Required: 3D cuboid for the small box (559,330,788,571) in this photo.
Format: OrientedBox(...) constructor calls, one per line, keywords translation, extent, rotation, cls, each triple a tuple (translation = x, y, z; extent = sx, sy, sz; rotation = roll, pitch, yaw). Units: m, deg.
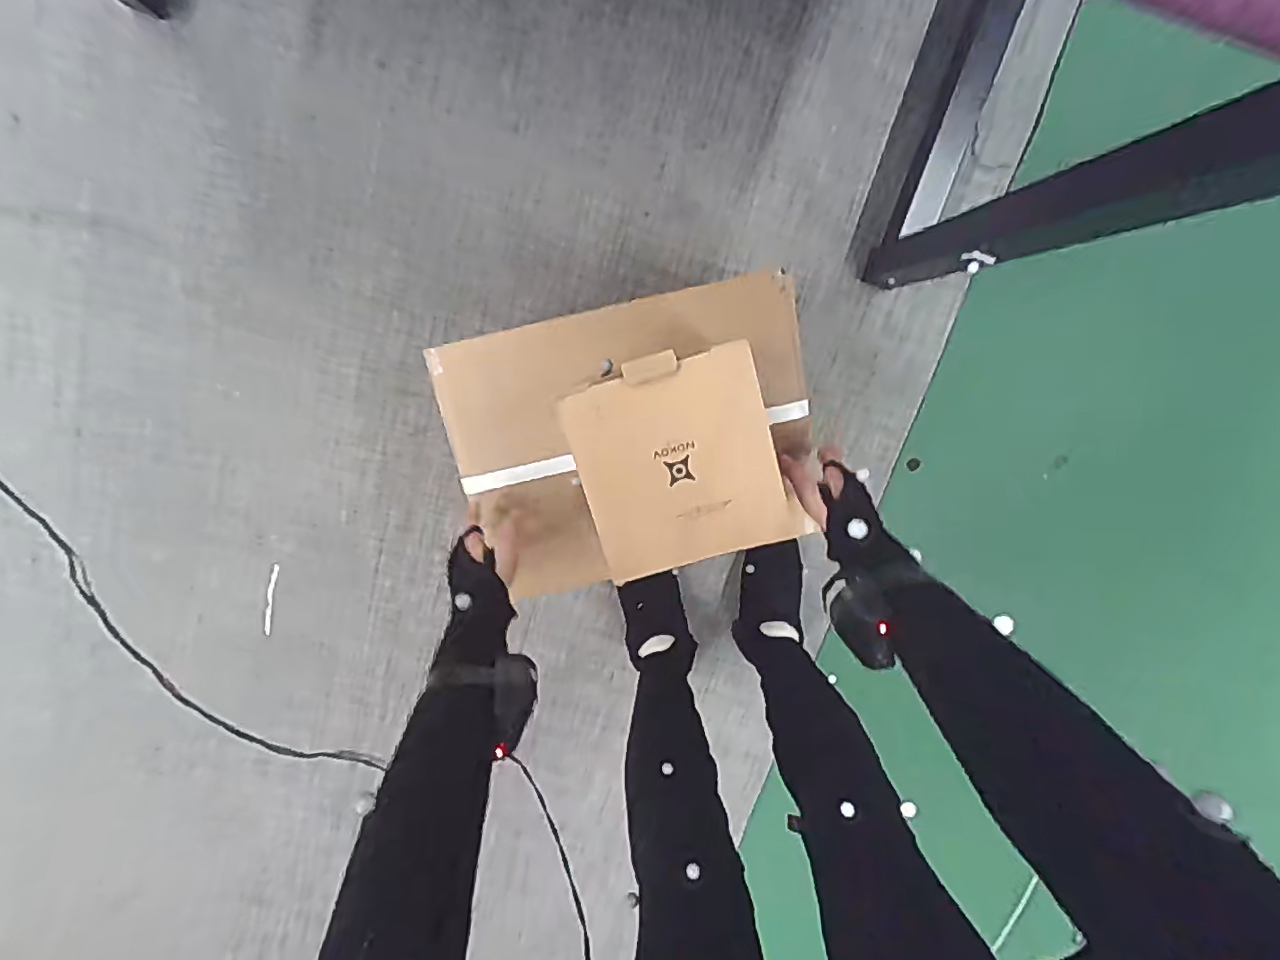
OrientedBox(translation=(0.028, -0.036, 0.536), extent=(0.168, 0.176, 0.179), rotation=(-15, 103, 2), cls="small box")
